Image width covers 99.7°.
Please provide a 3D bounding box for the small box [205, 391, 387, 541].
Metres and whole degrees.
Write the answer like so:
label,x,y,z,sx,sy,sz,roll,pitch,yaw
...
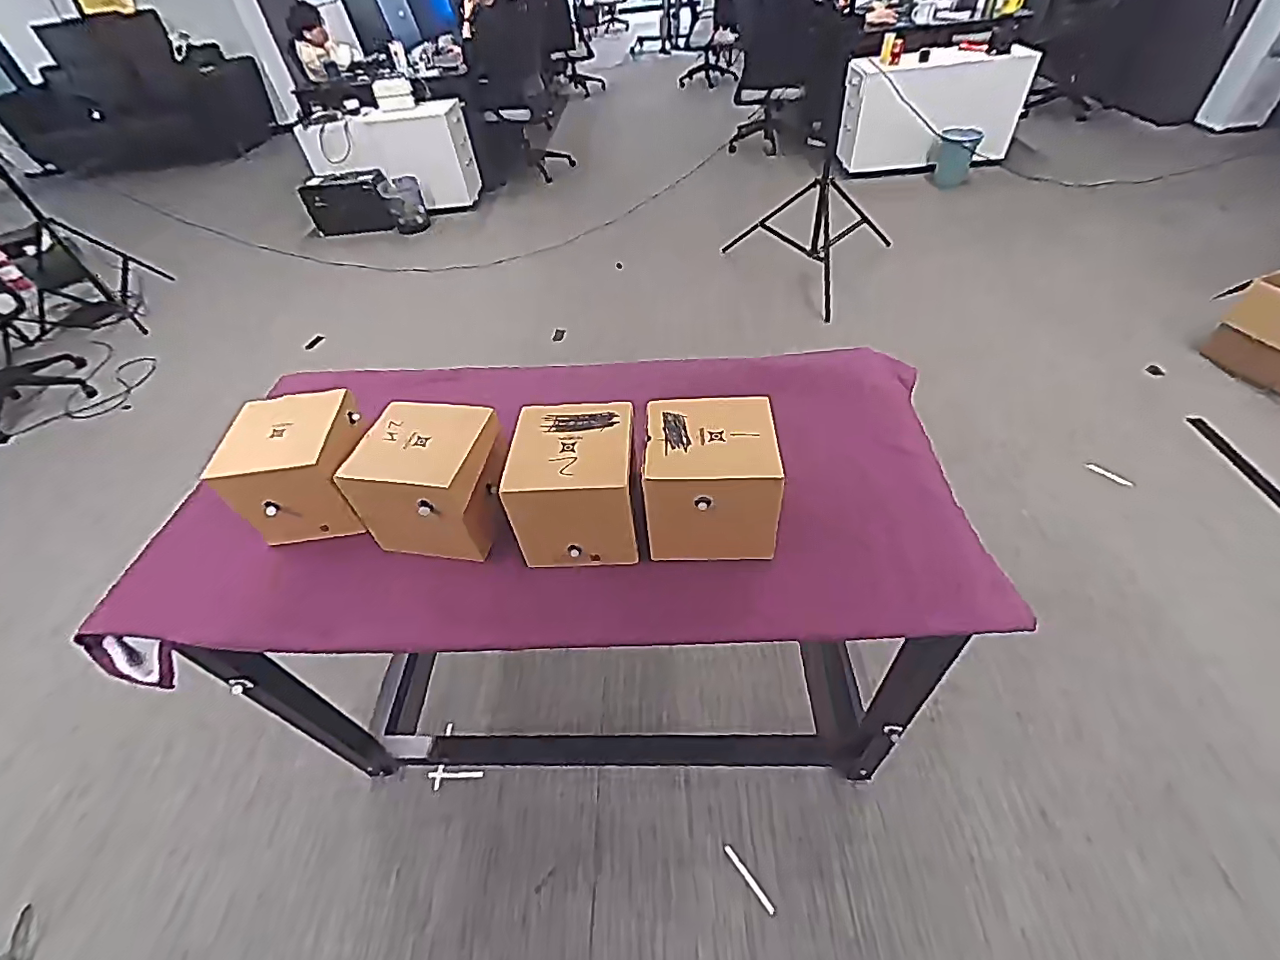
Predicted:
label,x,y,z,sx,sy,sz,roll,pitch,yaw
small box,-0.536,-0.015,0.877,0.168,0.176,0.179,-9,47,-1
